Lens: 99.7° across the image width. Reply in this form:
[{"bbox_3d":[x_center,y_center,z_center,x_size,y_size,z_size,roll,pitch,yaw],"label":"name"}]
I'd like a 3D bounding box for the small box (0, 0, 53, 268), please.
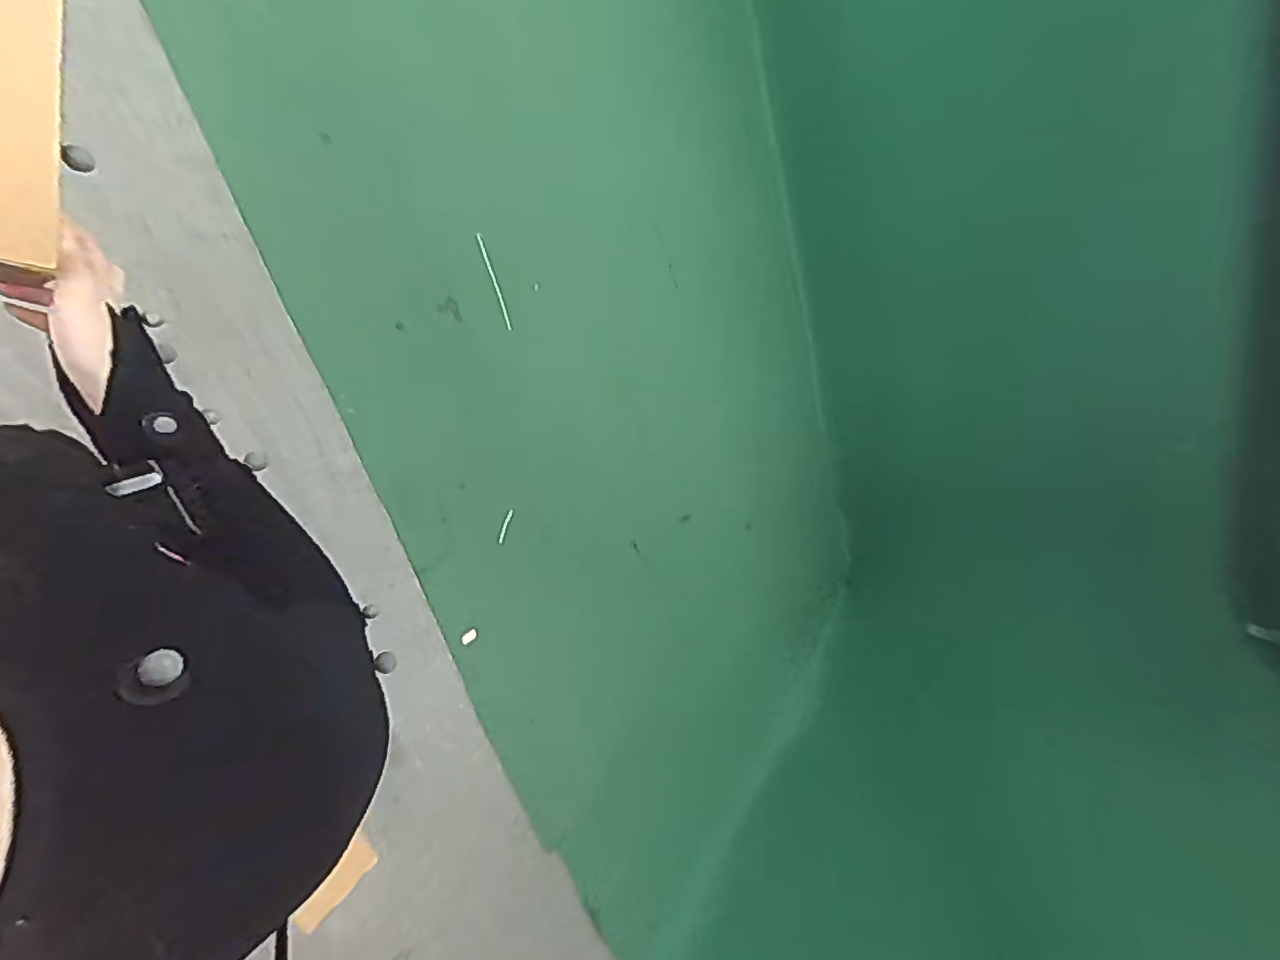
[{"bbox_3d":[-0.450,-0.229,0.293,0.168,0.176,0.179,-2,102,-52],"label":"small box"}]

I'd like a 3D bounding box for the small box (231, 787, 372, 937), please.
[{"bbox_3d":[-0.712,0.792,1.140,0.168,0.176,0.179,-40,119,-43],"label":"small box"}]
